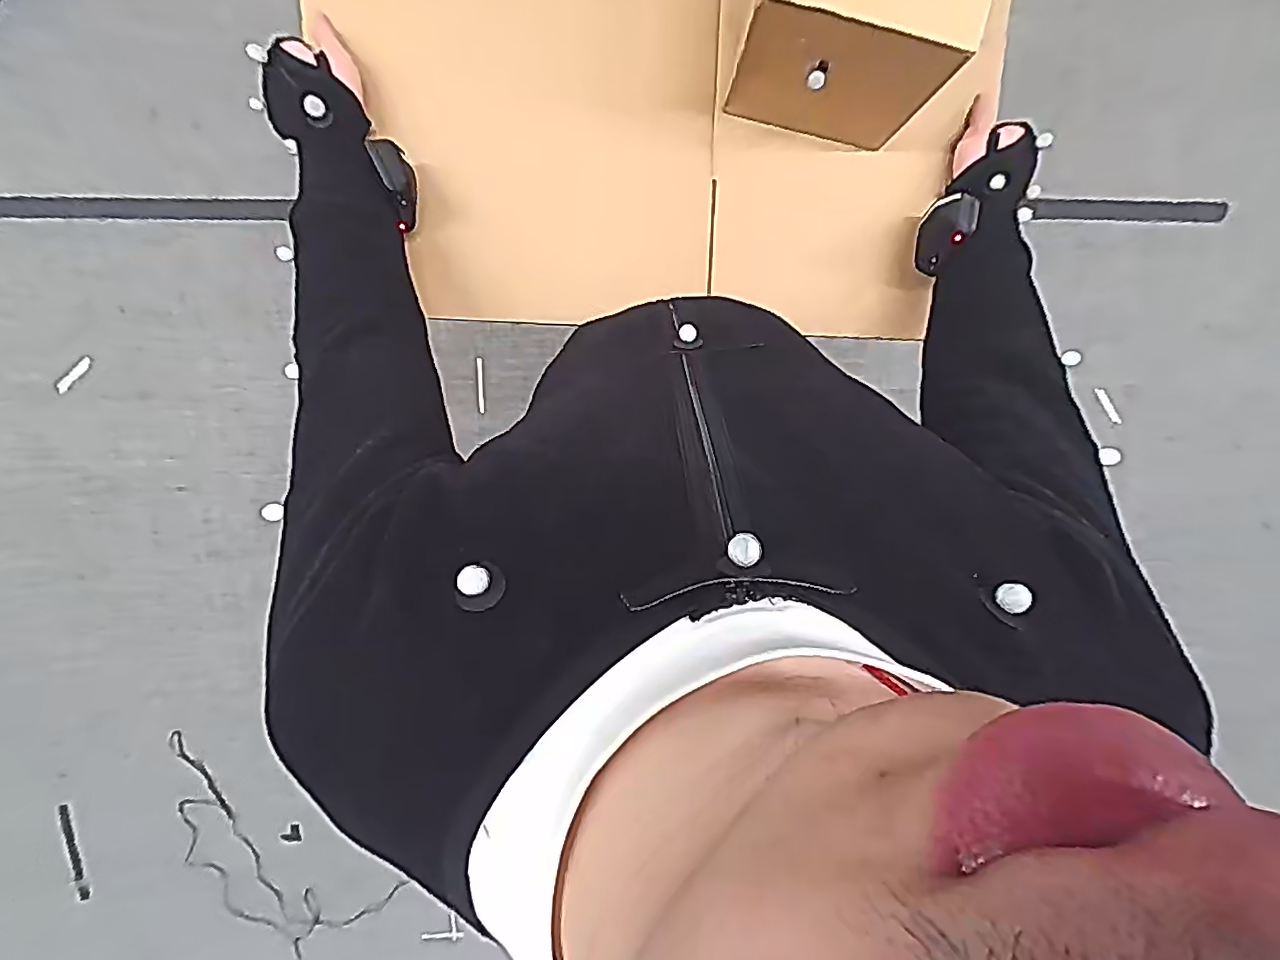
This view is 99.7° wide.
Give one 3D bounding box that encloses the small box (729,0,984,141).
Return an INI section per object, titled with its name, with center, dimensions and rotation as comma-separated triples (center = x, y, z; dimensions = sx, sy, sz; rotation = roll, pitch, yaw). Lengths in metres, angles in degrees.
[small box]
center = 0.189, -0.440, 0.485
dimensions = 0.179, 0.176, 0.168
rotation = 12, 98, -2
